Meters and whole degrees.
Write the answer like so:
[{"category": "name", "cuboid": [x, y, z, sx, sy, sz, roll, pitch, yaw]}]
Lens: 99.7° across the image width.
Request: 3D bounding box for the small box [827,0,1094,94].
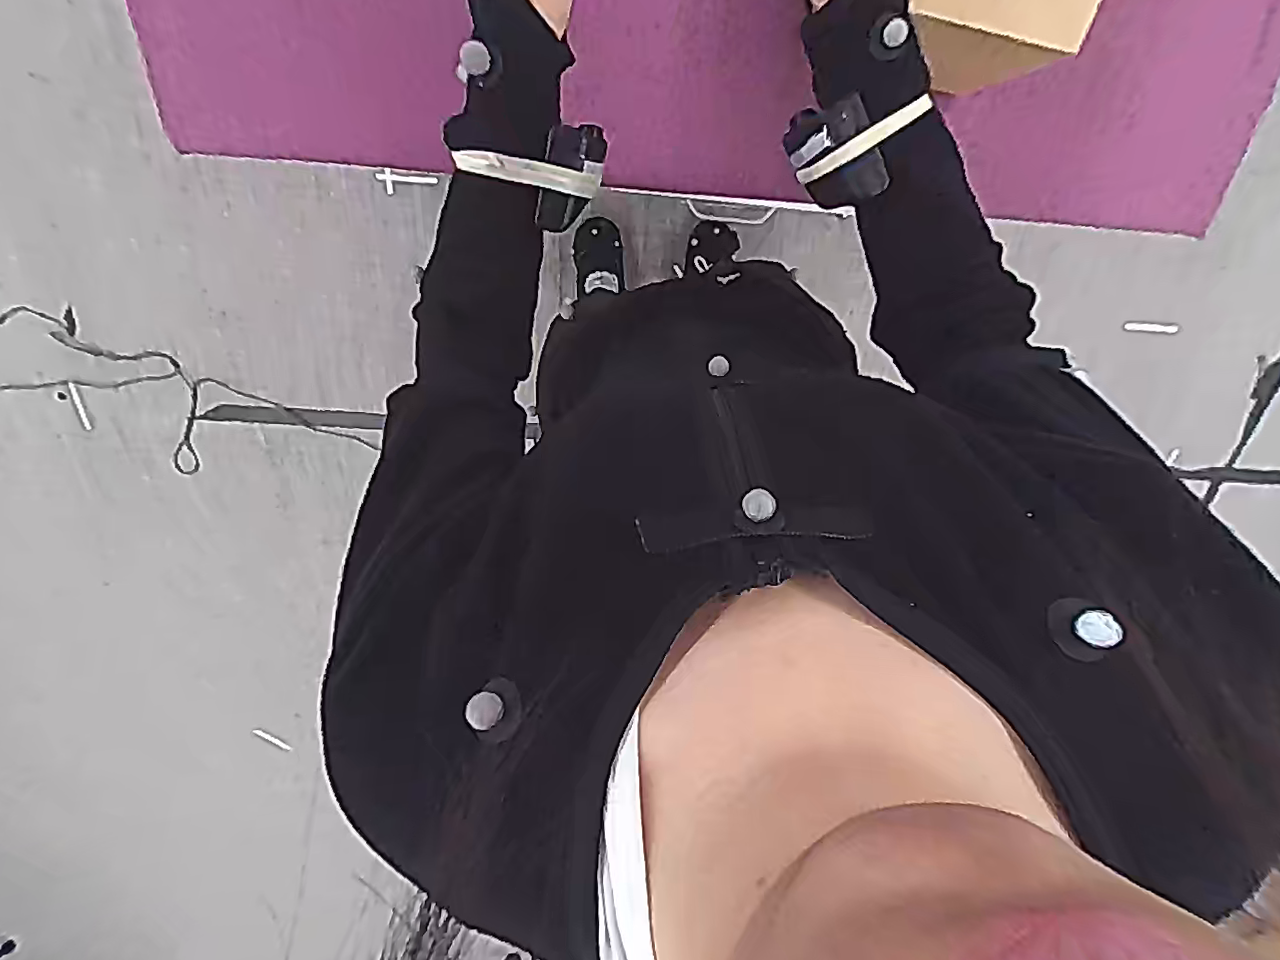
[{"category": "small box", "cuboid": [0.289, -0.476, 0.476, 0.168, 0.176, 0.179, 9, 116, -7]}]
